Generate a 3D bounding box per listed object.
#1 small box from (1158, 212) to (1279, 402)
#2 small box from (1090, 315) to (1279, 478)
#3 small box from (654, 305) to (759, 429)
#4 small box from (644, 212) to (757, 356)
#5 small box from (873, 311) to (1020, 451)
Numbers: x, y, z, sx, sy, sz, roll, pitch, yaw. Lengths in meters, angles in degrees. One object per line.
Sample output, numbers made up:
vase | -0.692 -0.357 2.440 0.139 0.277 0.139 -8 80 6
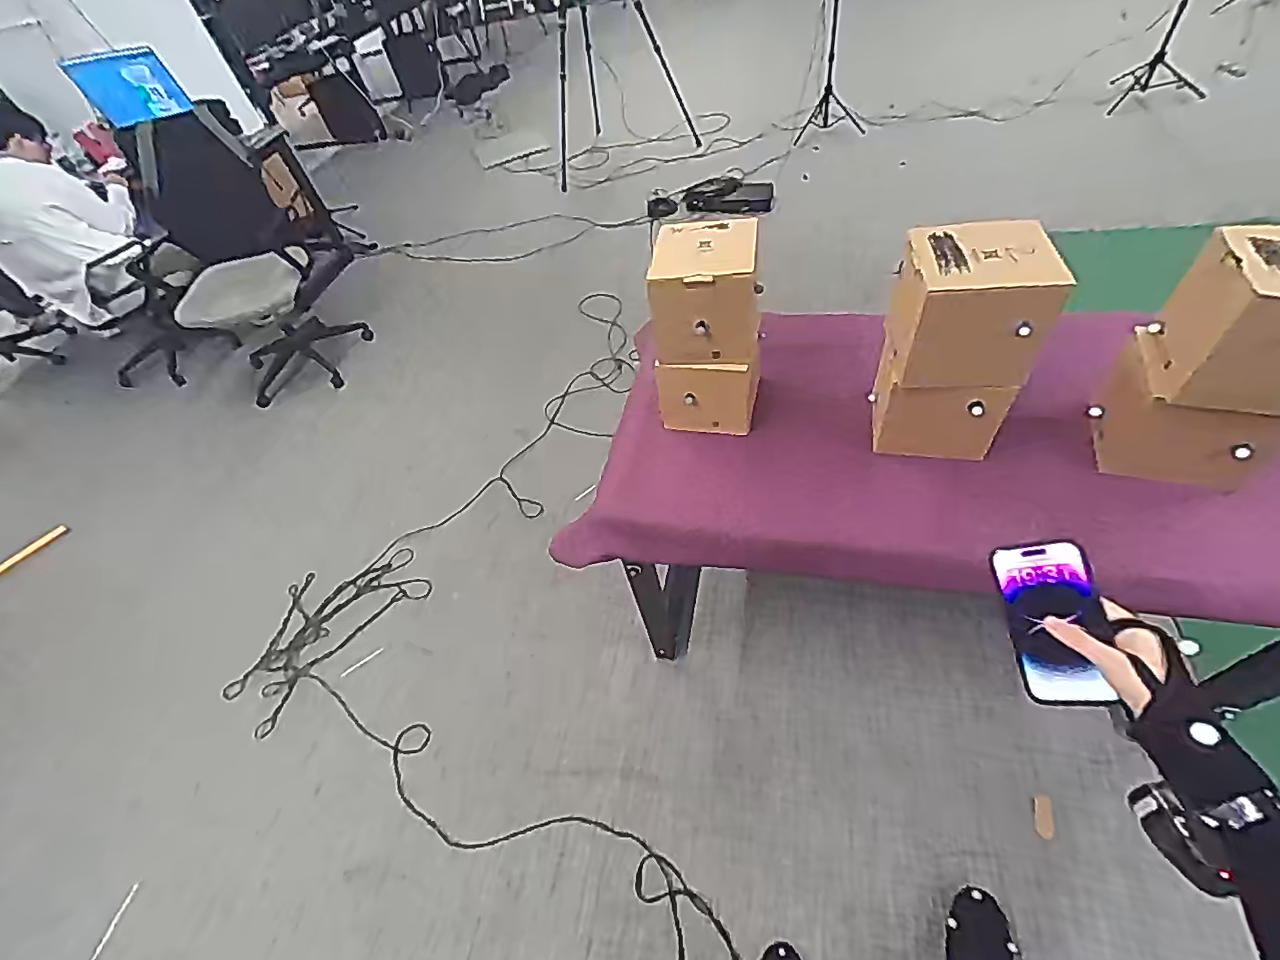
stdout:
small box | 0.804 -0.213 0.678 0.179 0.176 0.168 11 54 19
small box | 0.826 -0.123 0.814 0.179 0.176 0.168 11 54 20
small box | 0.137 -0.216 1.040 0.168 0.176 0.179 6 53 17
small box | 0.111 -0.325 0.920 0.168 0.176 0.179 2 52 13
small box | 0.505 -0.165 0.917 0.179 0.176 0.168 5 52 17
